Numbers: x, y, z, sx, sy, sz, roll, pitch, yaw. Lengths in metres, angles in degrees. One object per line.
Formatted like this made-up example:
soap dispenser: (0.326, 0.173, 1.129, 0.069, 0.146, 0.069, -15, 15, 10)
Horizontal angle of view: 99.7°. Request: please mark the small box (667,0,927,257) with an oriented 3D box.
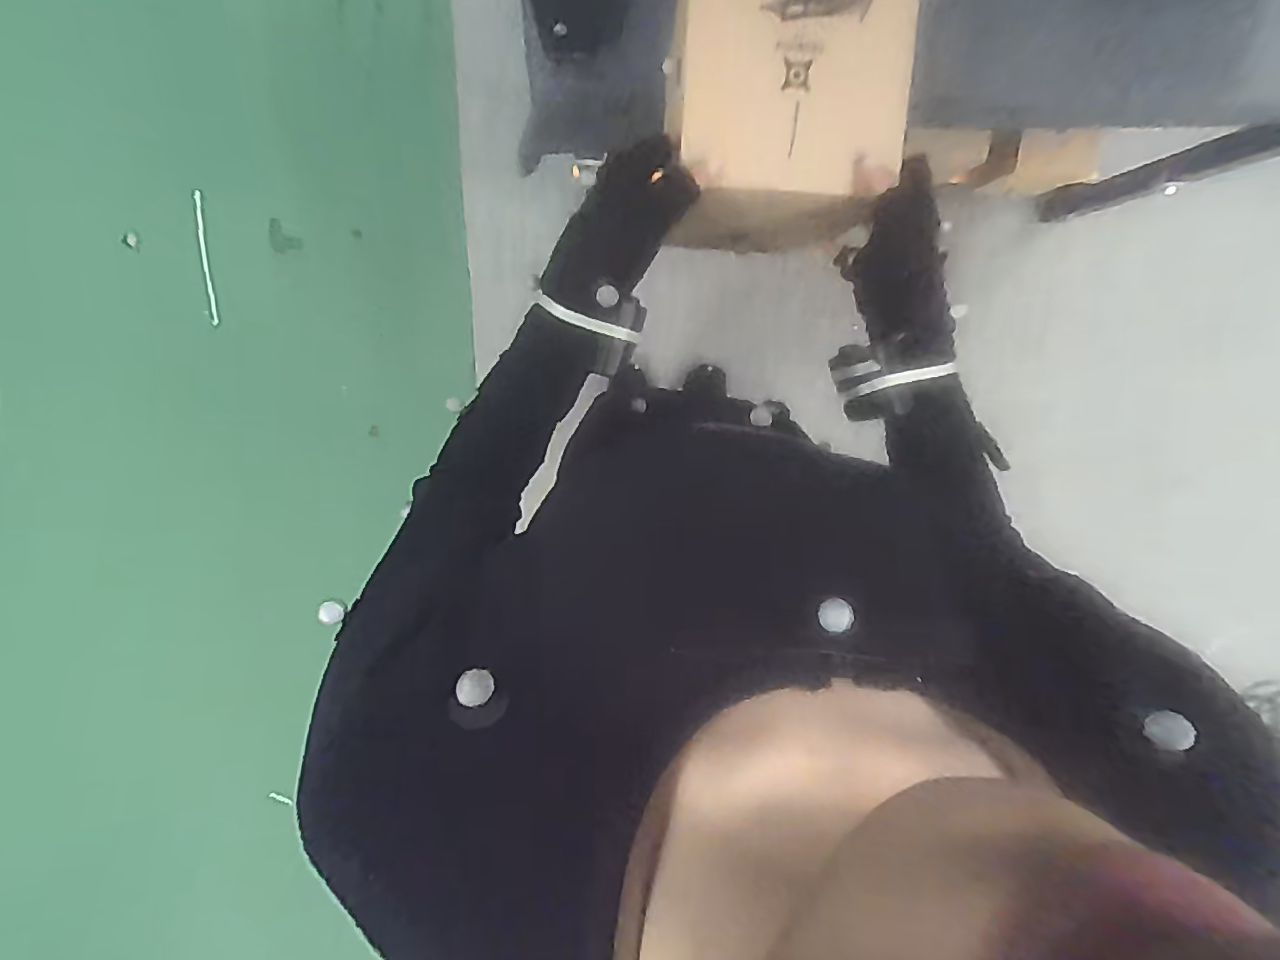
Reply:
small box: (0.114, -0.307, 0.459, 0.168, 0.176, 0.179, 1, 98, -3)
